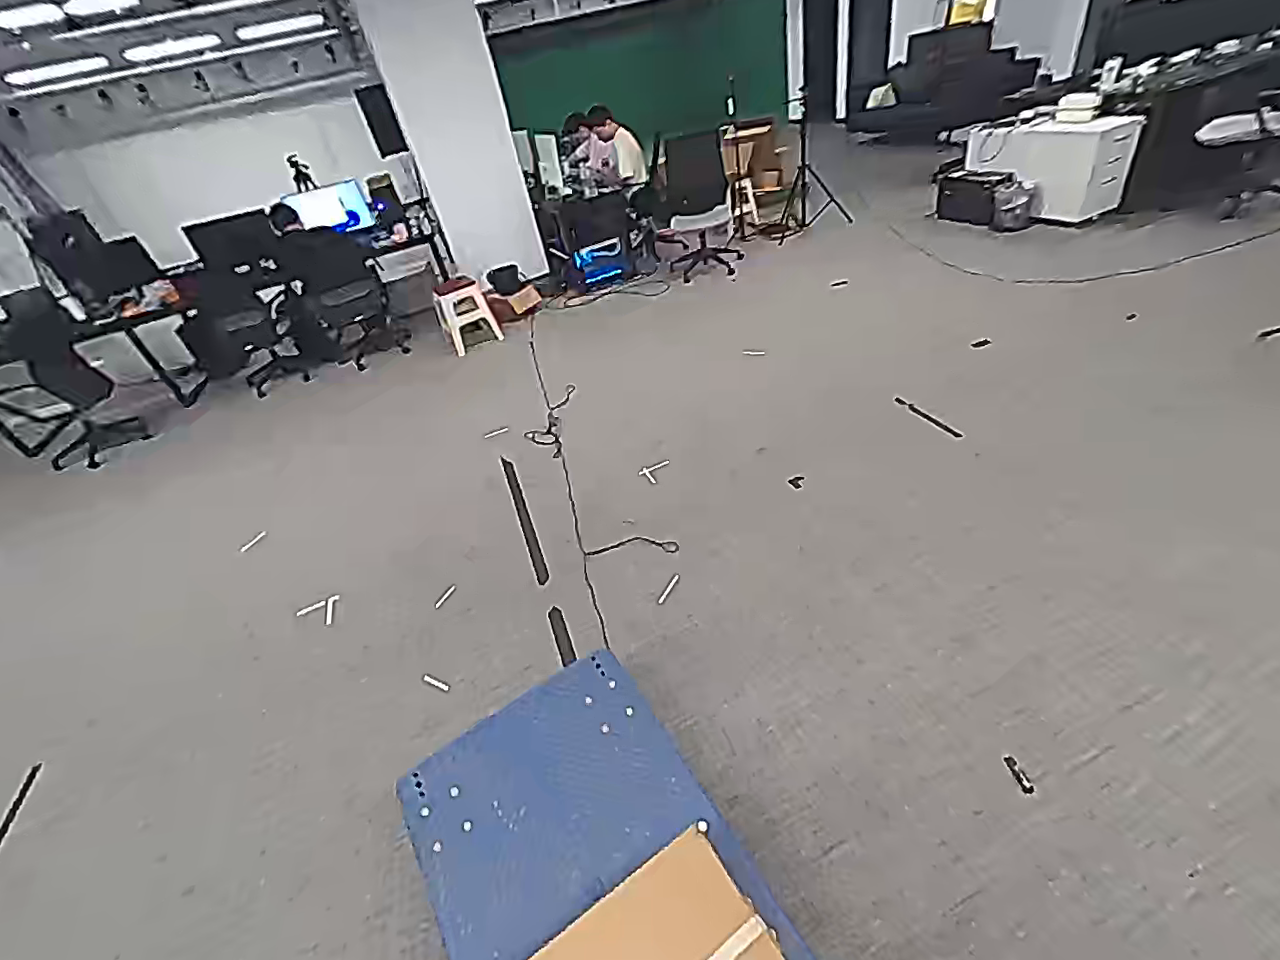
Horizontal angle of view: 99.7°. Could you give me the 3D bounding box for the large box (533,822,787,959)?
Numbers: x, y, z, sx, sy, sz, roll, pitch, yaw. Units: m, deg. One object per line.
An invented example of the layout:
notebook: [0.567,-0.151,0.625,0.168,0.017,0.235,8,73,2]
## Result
large box: [0.024,0.854,0.865,0.408,0.320,0.320,-29,54,-20]
